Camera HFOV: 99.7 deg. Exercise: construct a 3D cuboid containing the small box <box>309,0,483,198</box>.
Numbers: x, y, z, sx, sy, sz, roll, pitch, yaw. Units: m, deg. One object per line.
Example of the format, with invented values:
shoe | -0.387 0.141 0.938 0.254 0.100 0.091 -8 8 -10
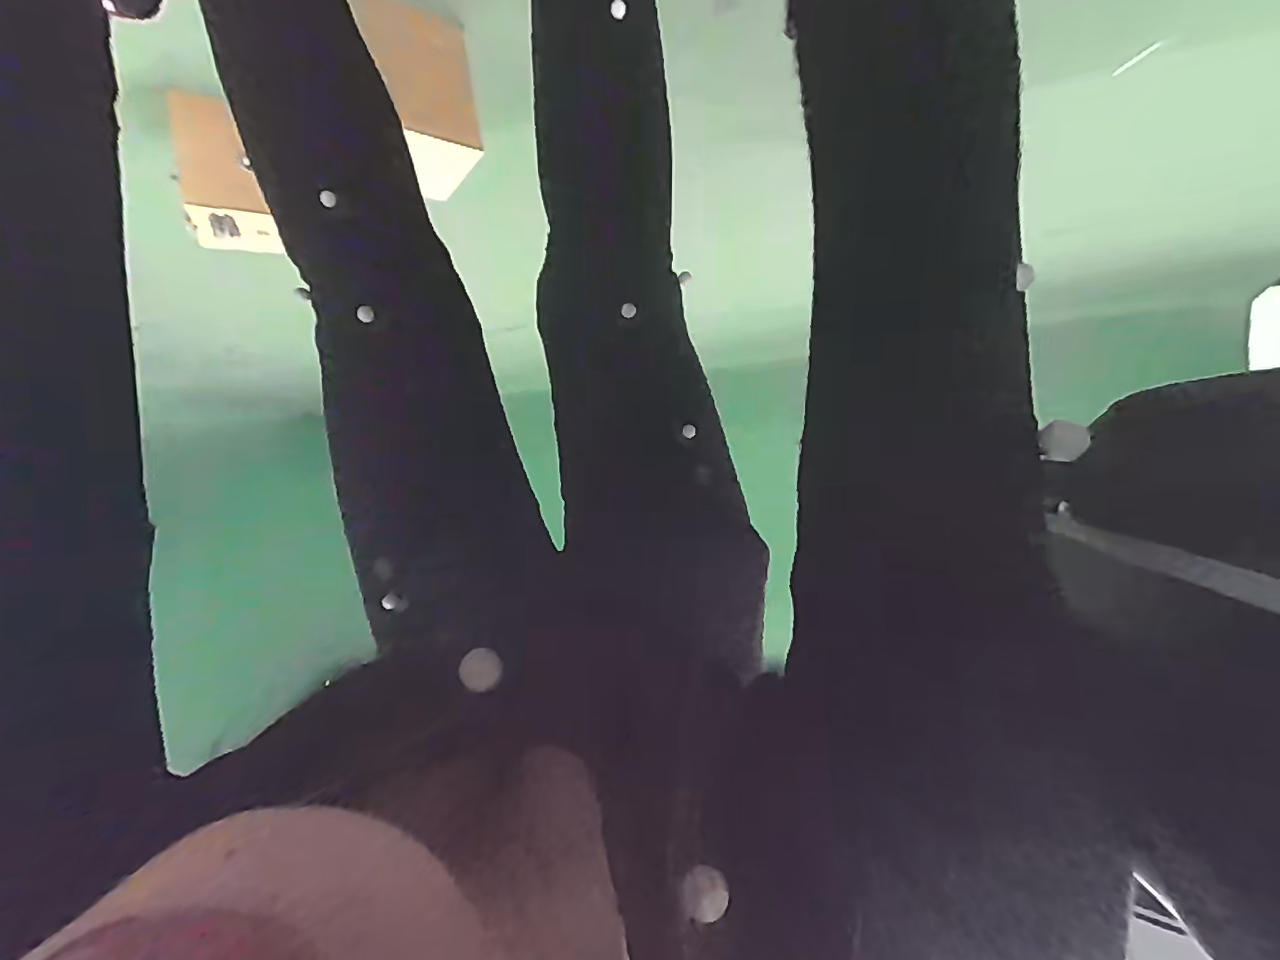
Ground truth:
small box | -0.343 -0.531 0.759 0.179 0.176 0.168 -8 -176 -39
